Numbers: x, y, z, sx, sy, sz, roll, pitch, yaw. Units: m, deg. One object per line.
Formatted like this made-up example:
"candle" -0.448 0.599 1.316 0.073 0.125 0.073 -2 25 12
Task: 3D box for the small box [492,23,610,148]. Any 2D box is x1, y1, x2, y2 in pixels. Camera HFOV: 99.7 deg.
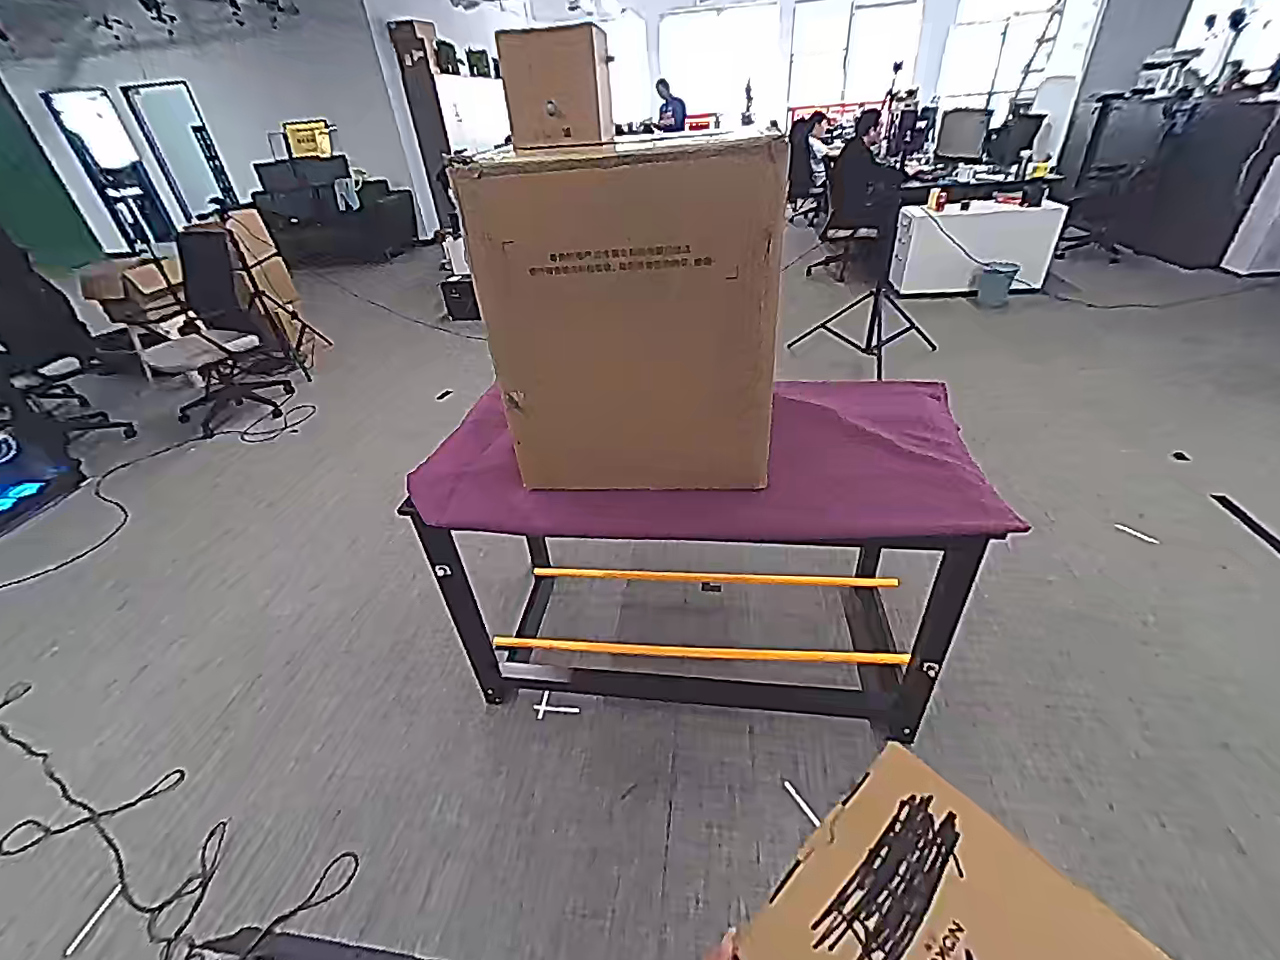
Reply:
"small box" -0.150 -0.708 0.984 0.168 0.176 0.179 0 35 7
